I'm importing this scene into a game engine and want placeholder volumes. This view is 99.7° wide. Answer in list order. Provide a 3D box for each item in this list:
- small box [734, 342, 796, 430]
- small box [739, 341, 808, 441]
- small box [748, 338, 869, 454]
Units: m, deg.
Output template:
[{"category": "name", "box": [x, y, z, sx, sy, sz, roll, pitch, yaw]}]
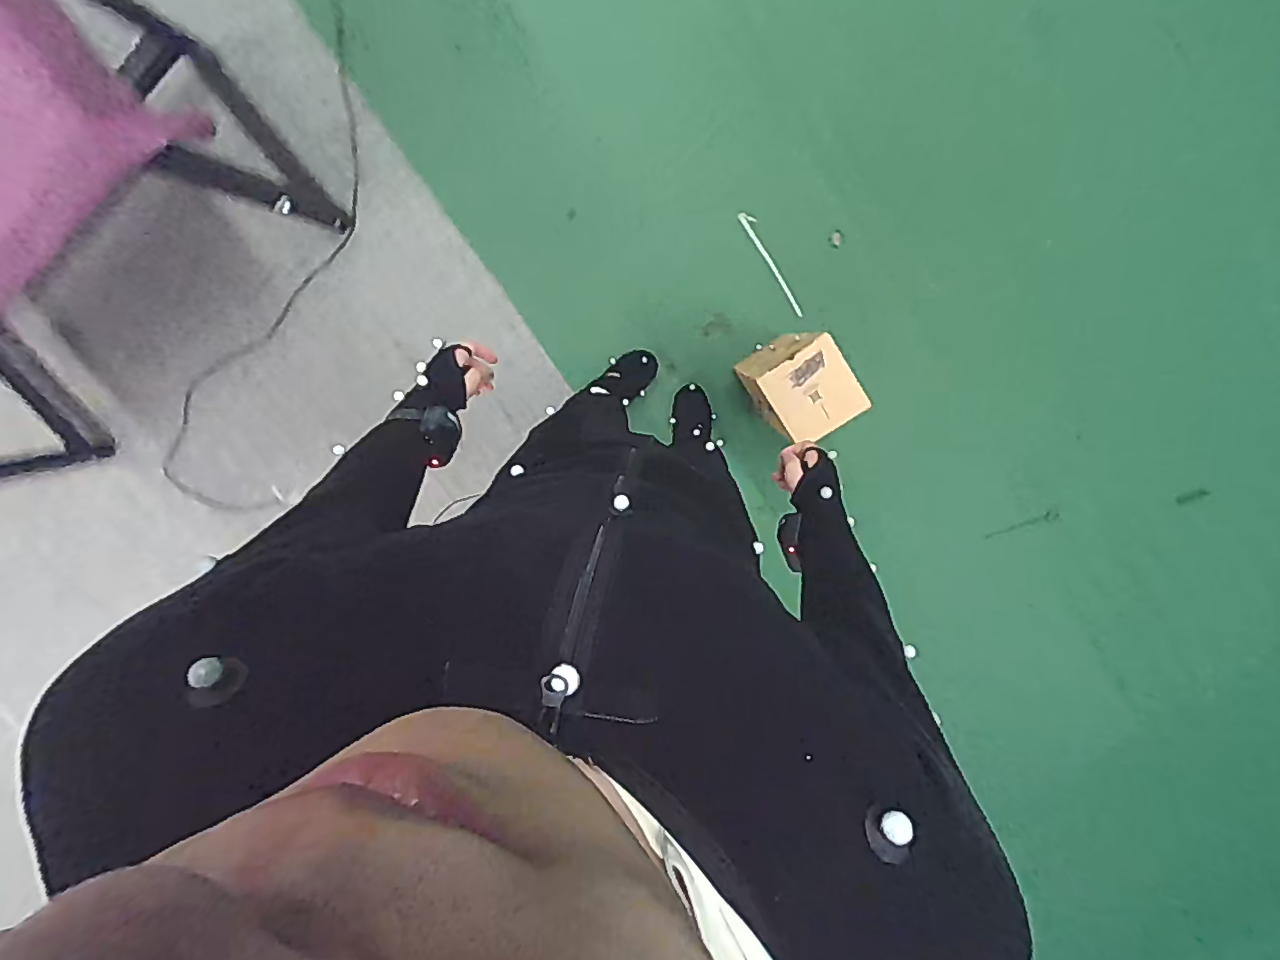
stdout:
[{"category": "small box", "box": [0.371, -0.261, 1.465, 0.168, 0.176, 0.179, -32, 100, 11]}, {"category": "small box", "box": [0.357, -0.220, 1.309, 0.168, 0.176, 0.179, -32, 99, 11]}, {"category": "small box", "box": [0.347, -0.181, 1.150, 0.168, 0.176, 0.179, -33, 100, 12]}]
